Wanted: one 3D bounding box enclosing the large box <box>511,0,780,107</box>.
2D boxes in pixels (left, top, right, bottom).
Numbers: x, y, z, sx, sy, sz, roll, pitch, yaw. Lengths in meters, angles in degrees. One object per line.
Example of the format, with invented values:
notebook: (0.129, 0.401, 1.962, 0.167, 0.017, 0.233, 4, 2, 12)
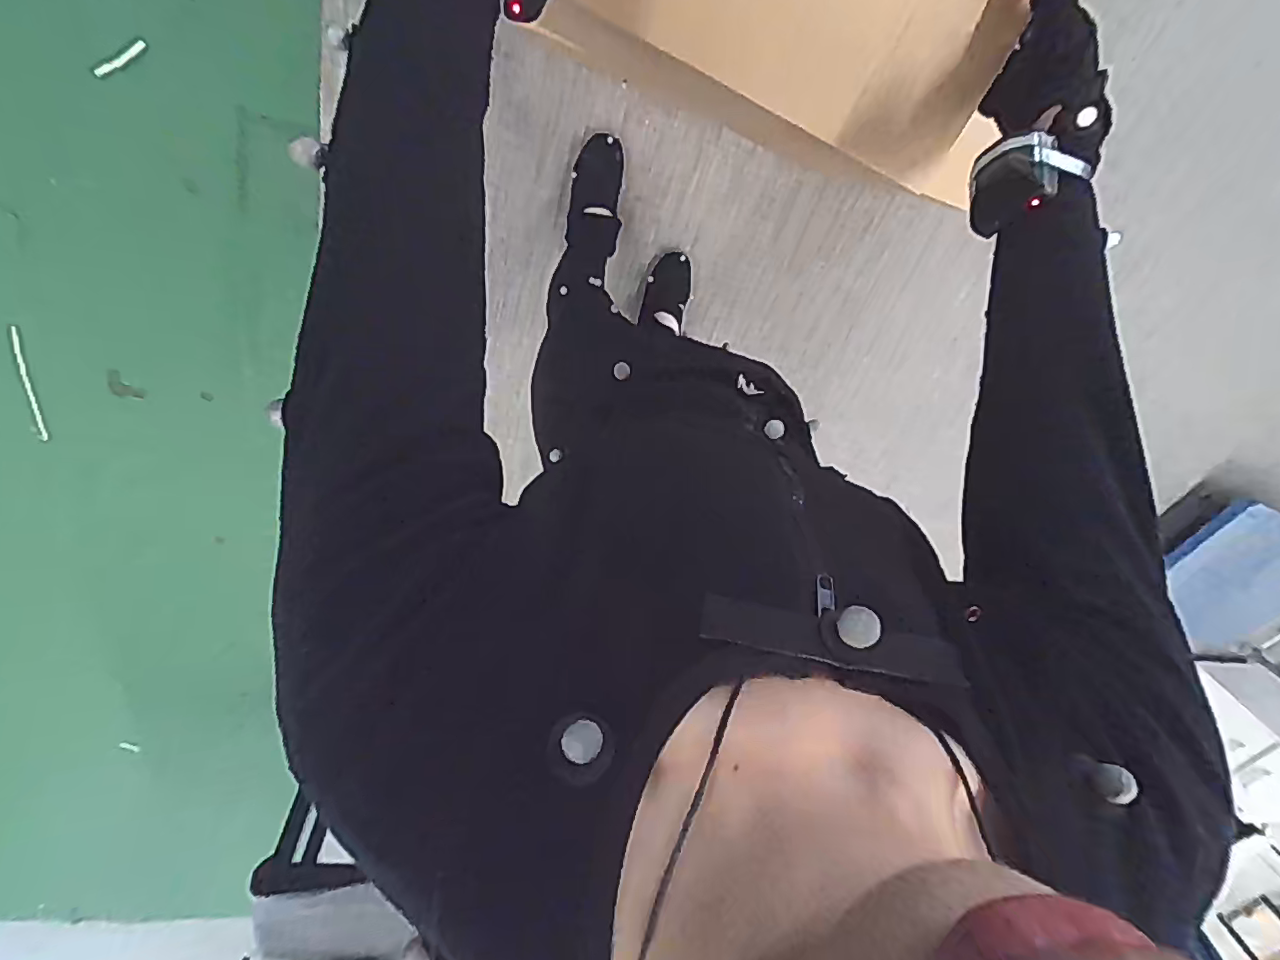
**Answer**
large box: (0.022, -0.881, 0.919, 0.408, 0.320, 0.320, 13, 121, -15)
